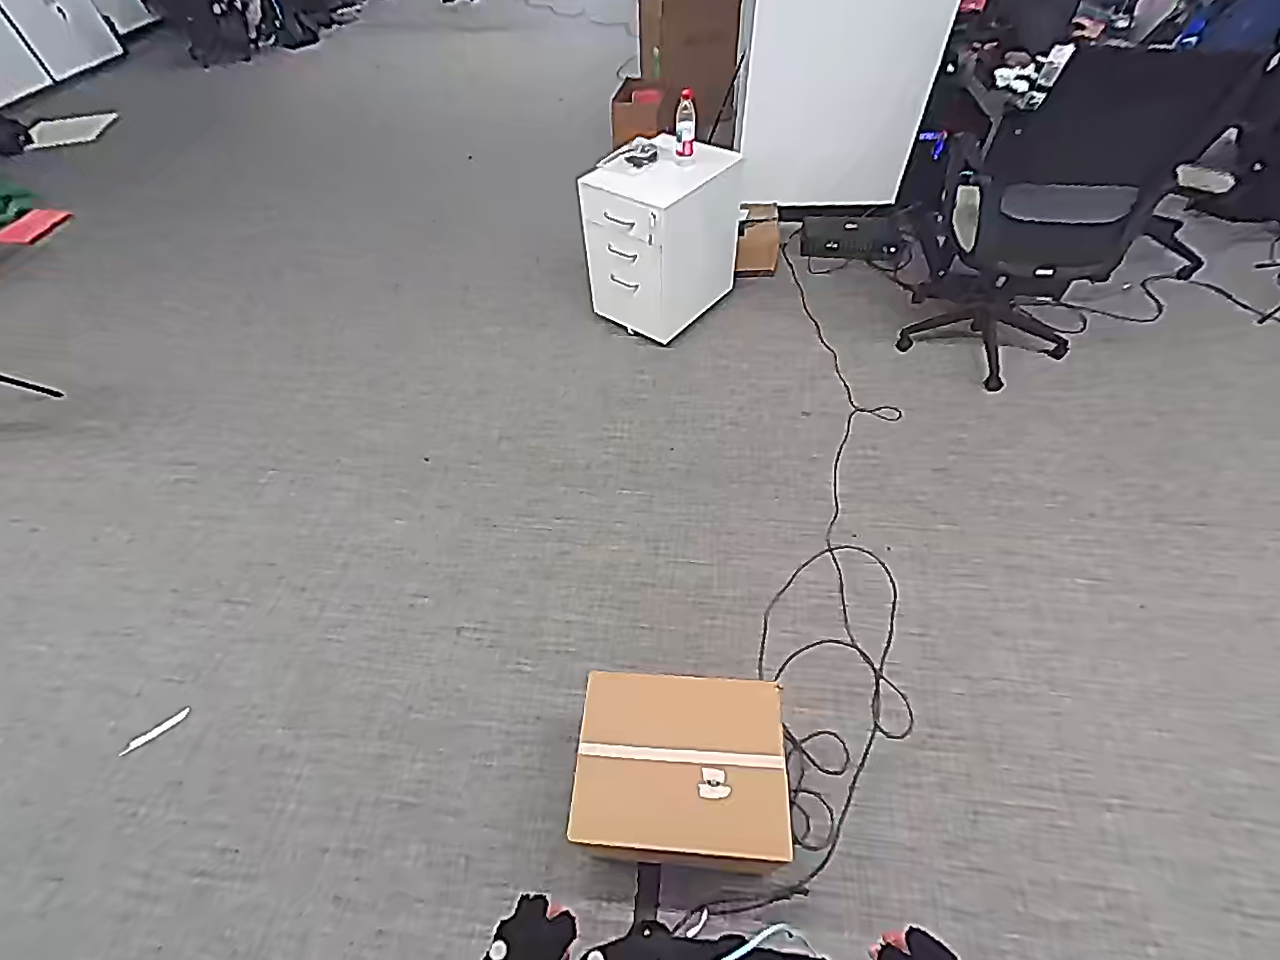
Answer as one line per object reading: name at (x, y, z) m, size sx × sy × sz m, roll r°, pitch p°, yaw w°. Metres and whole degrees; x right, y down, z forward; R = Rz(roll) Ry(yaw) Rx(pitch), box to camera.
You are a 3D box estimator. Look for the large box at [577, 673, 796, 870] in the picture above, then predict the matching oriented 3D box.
large box at (0.096, 0.638, 1.179) m, size 0.408 × 0.320 × 0.320 m, roll 2°, pitch 52°, yaw 6°
